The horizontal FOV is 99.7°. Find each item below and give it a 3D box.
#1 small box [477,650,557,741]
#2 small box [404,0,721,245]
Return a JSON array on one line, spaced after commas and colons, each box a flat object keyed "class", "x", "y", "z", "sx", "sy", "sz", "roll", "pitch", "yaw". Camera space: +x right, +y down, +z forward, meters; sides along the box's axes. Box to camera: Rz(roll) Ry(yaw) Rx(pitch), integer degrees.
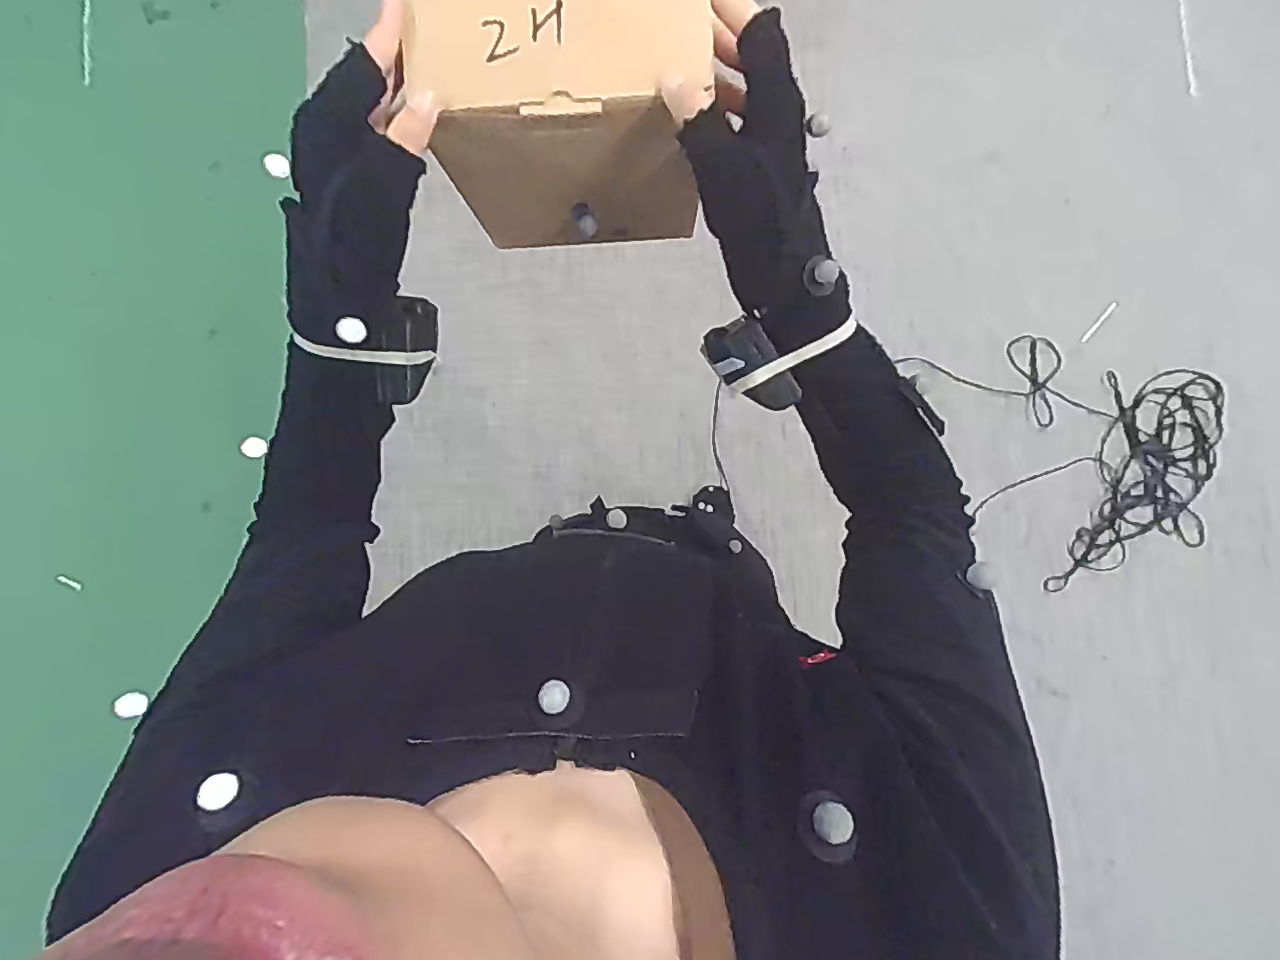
[{"class": "small box", "x": -0.308, "y": 0.546, "z": 1.385, "sx": 0.168, "sy": 0.176, "sz": 0.179, "roll": -1, "pitch": 86, "yaw": 2}, {"class": "small box", "x": -0.040, "y": -0.282, "z": 0.361, "sx": 0.168, "sy": 0.176, "sz": 0.179, "roll": -2, "pitch": 89, "yaw": 2}]
